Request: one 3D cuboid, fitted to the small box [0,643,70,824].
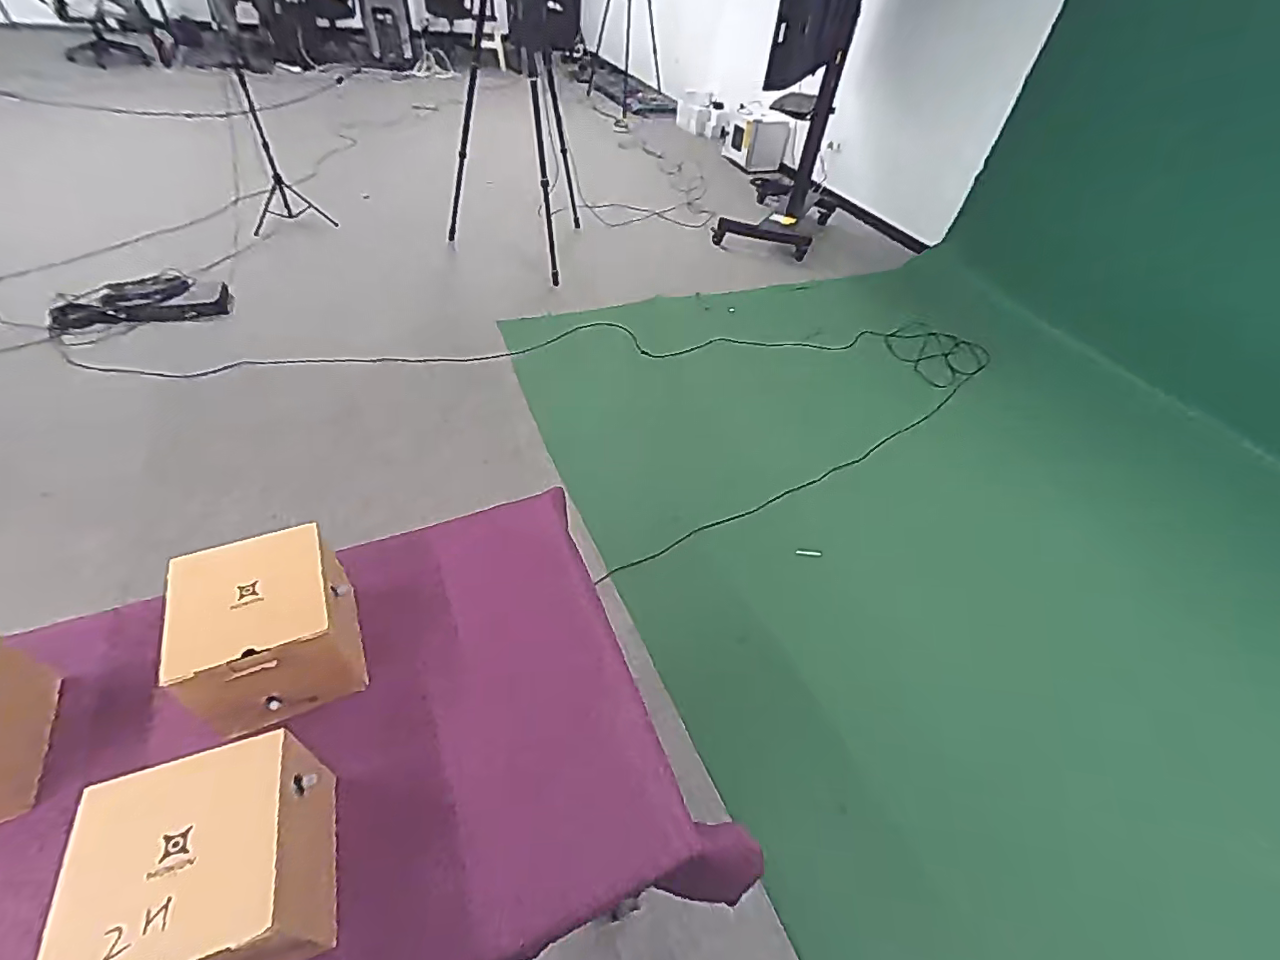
[{"bbox_3d":[-0.786,0.288,0.587,0.168,0.176,0.179,-14,50,-20],"label":"small box"}]

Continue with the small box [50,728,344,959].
[{"bbox_3d":[-0.409,0.385,0.536,0.168,0.176,0.179,-13,49,-17],"label":"small box"}]

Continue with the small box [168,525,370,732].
[{"bbox_3d":[-0.473,0.194,0.711,0.168,0.176,0.179,-17,52,-21],"label":"small box"}]
